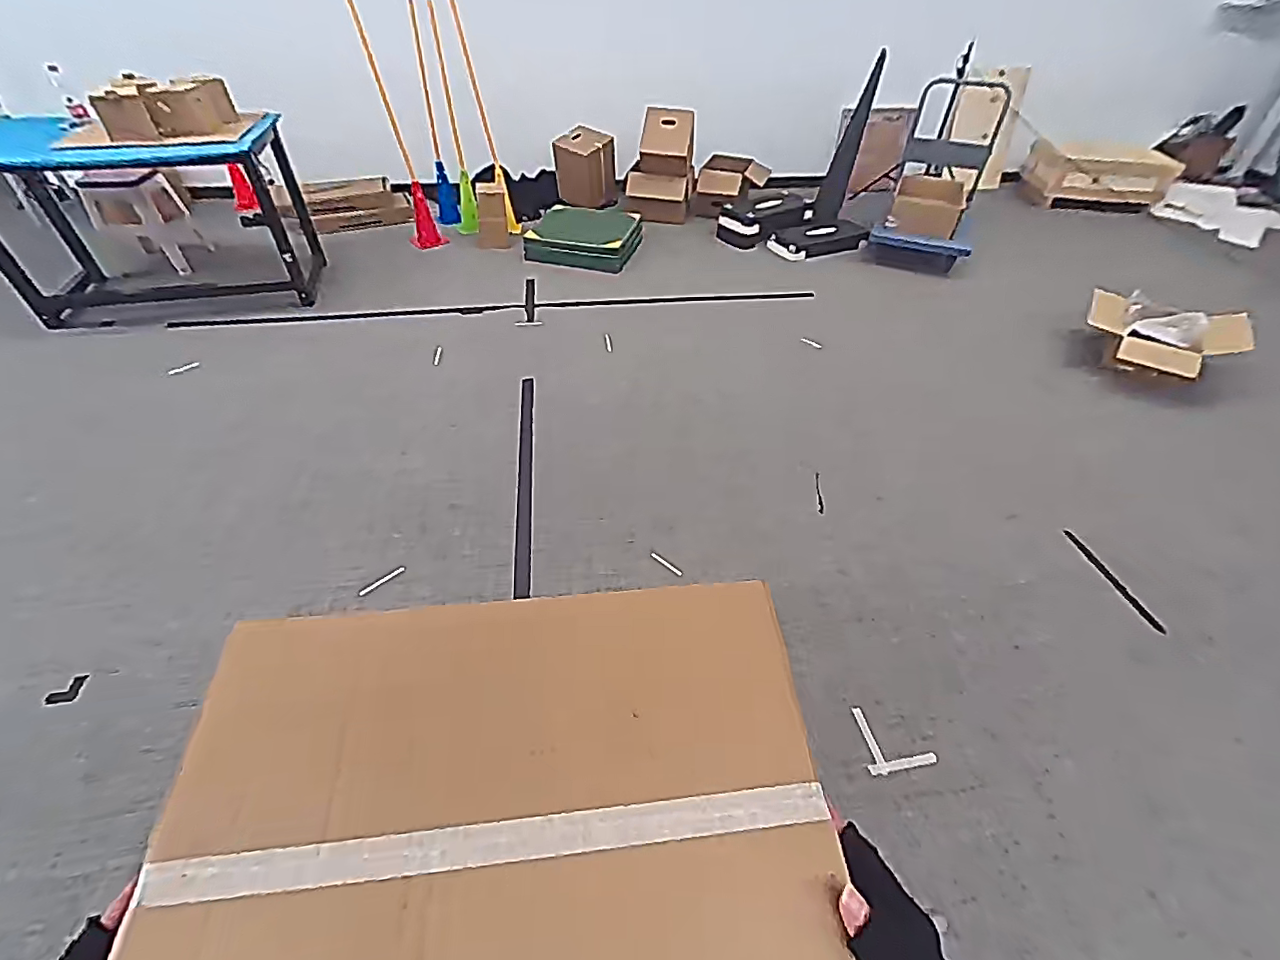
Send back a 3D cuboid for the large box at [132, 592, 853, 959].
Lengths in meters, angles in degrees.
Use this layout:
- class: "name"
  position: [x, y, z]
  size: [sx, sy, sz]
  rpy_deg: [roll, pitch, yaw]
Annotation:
- class: "large box"
  position: [-0.087, 0.317, 0.453]
  size: [0.408, 0.320, 0.320]
  rpy_deg: [-4, 52, -5]
